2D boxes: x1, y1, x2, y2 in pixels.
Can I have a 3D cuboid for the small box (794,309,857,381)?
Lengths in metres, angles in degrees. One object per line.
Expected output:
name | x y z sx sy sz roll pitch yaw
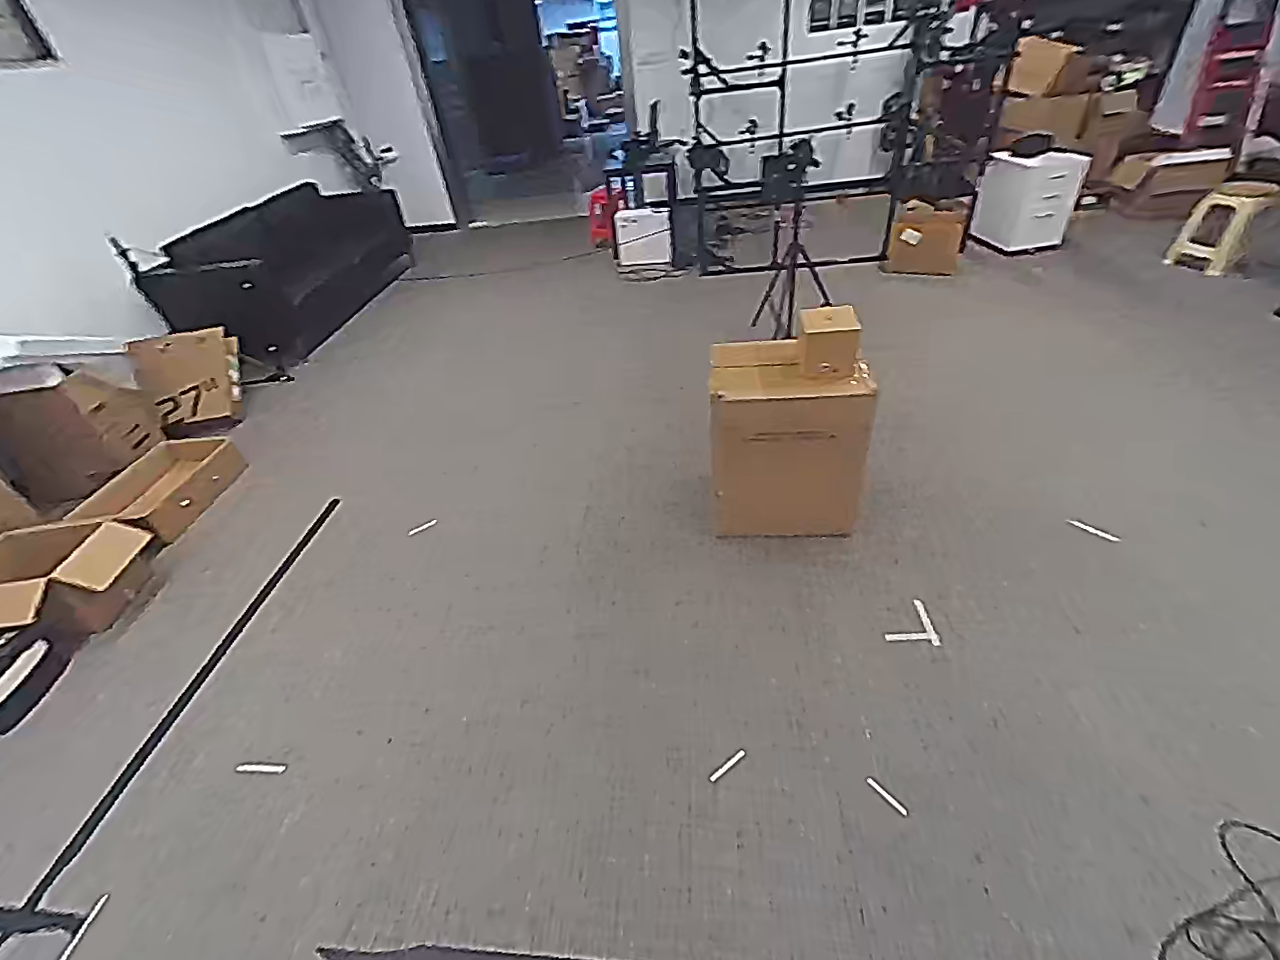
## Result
small box | 0.600 -0.441 1.771 0.168 0.176 0.179 -3 41 9
